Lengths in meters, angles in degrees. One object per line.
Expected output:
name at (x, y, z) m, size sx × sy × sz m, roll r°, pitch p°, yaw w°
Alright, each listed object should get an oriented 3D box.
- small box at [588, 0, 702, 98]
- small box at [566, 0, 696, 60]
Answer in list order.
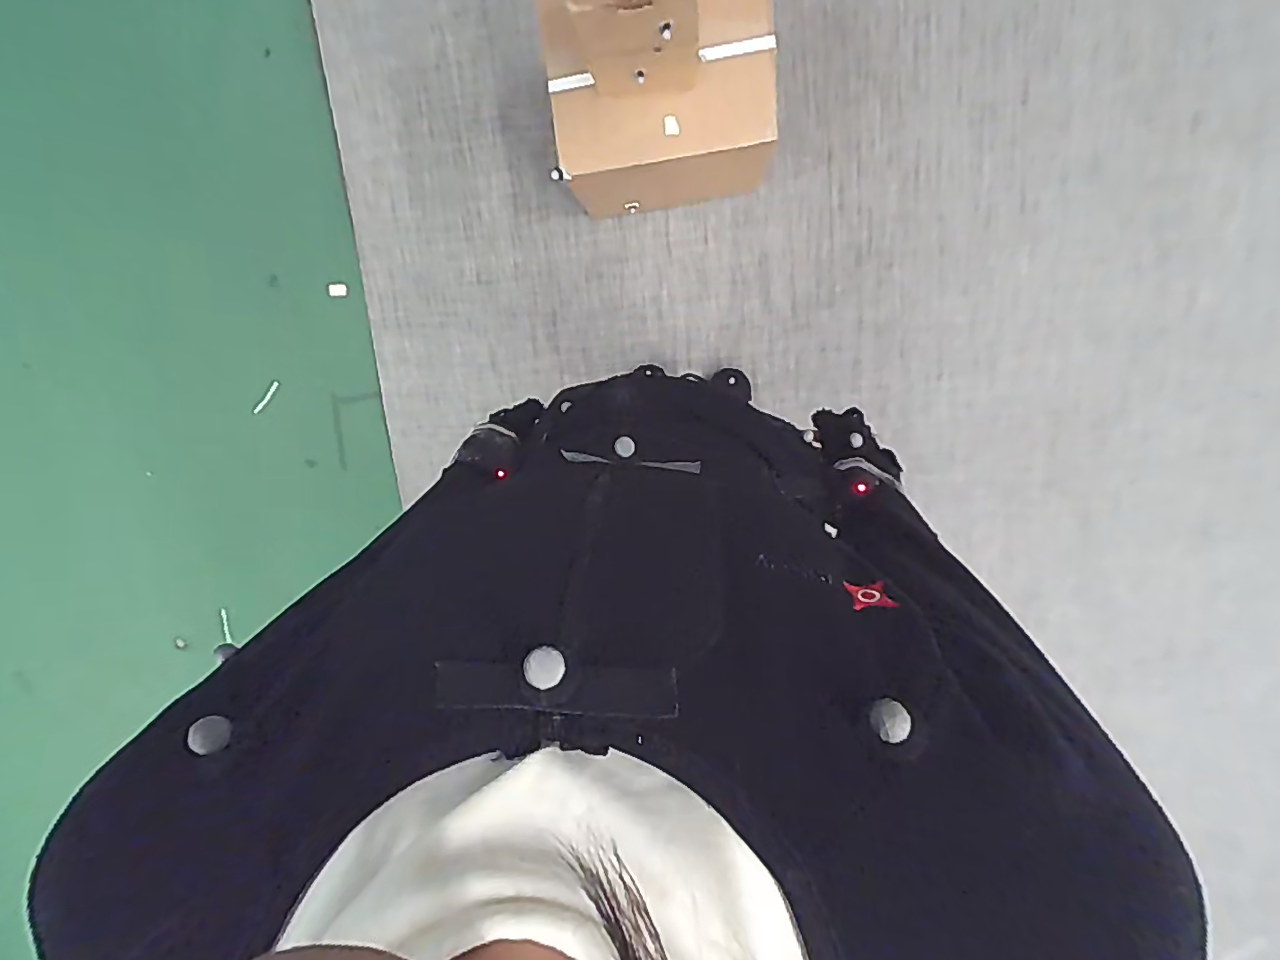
small box at (0.005, -0.750, 0.873) m, size 0.179 × 0.176 × 0.168 m, roll -5°, pitch 108°, yaw 7°
small box at (-0.013, -0.698, 0.721) m, size 0.168 × 0.176 × 0.179 m, roll -5°, pitch 107°, yaw 7°
